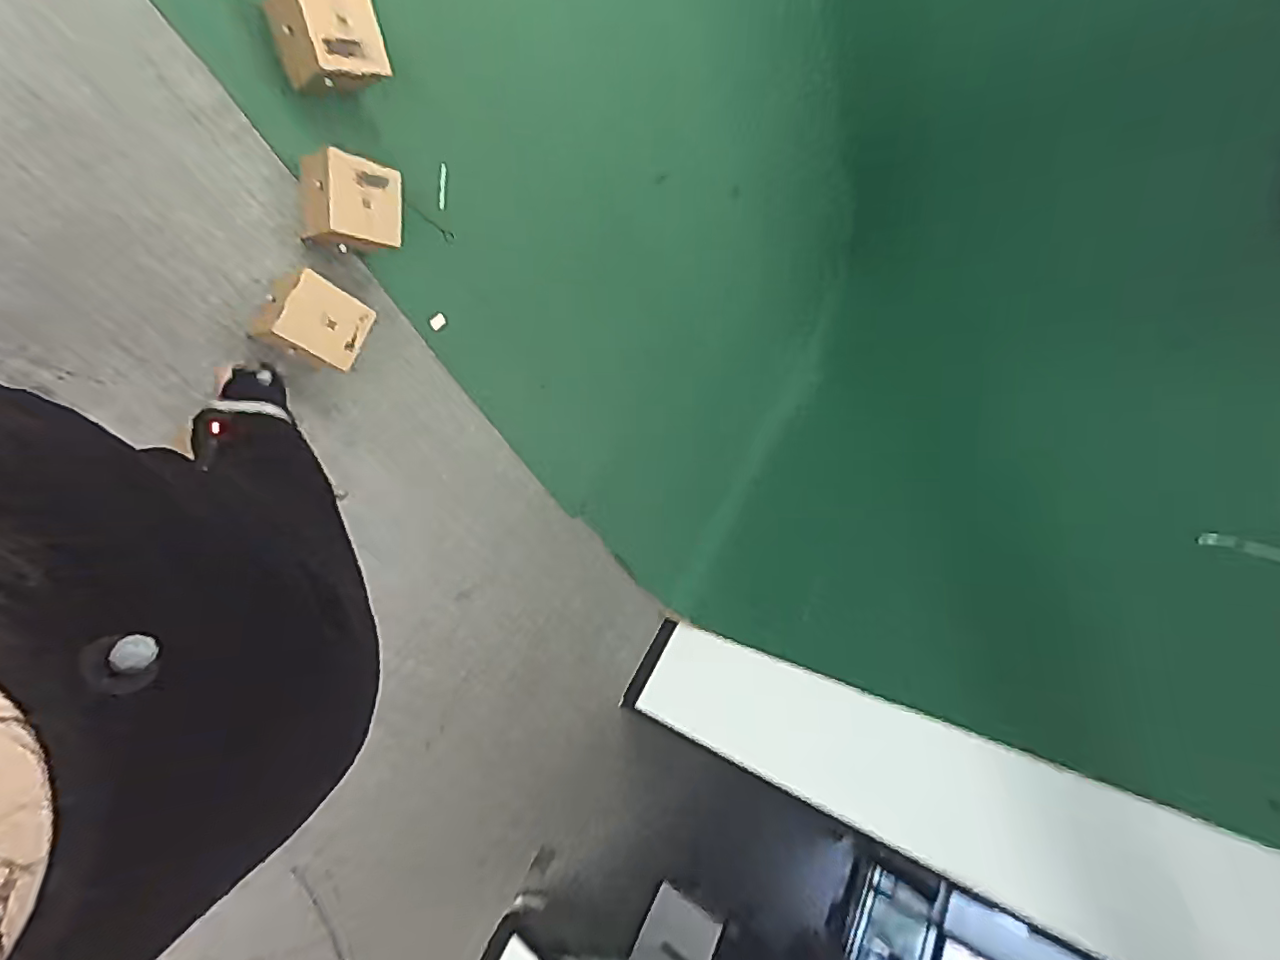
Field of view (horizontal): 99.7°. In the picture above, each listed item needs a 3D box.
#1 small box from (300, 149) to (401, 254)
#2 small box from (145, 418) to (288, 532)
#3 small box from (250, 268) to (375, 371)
[{"bbox_3d":[-0.699,-0.660,1.304,0.168,0.176,0.179,-7,105,-50],"label":"small box"},{"bbox_3d":[-0.928,-0.016,1.182,0.179,0.176,0.168,-58,138,-24],"label":"small box"},{"bbox_3d":[-0.777,-0.371,1.281,0.179,0.176,0.168,35,72,-49],"label":"small box"}]
